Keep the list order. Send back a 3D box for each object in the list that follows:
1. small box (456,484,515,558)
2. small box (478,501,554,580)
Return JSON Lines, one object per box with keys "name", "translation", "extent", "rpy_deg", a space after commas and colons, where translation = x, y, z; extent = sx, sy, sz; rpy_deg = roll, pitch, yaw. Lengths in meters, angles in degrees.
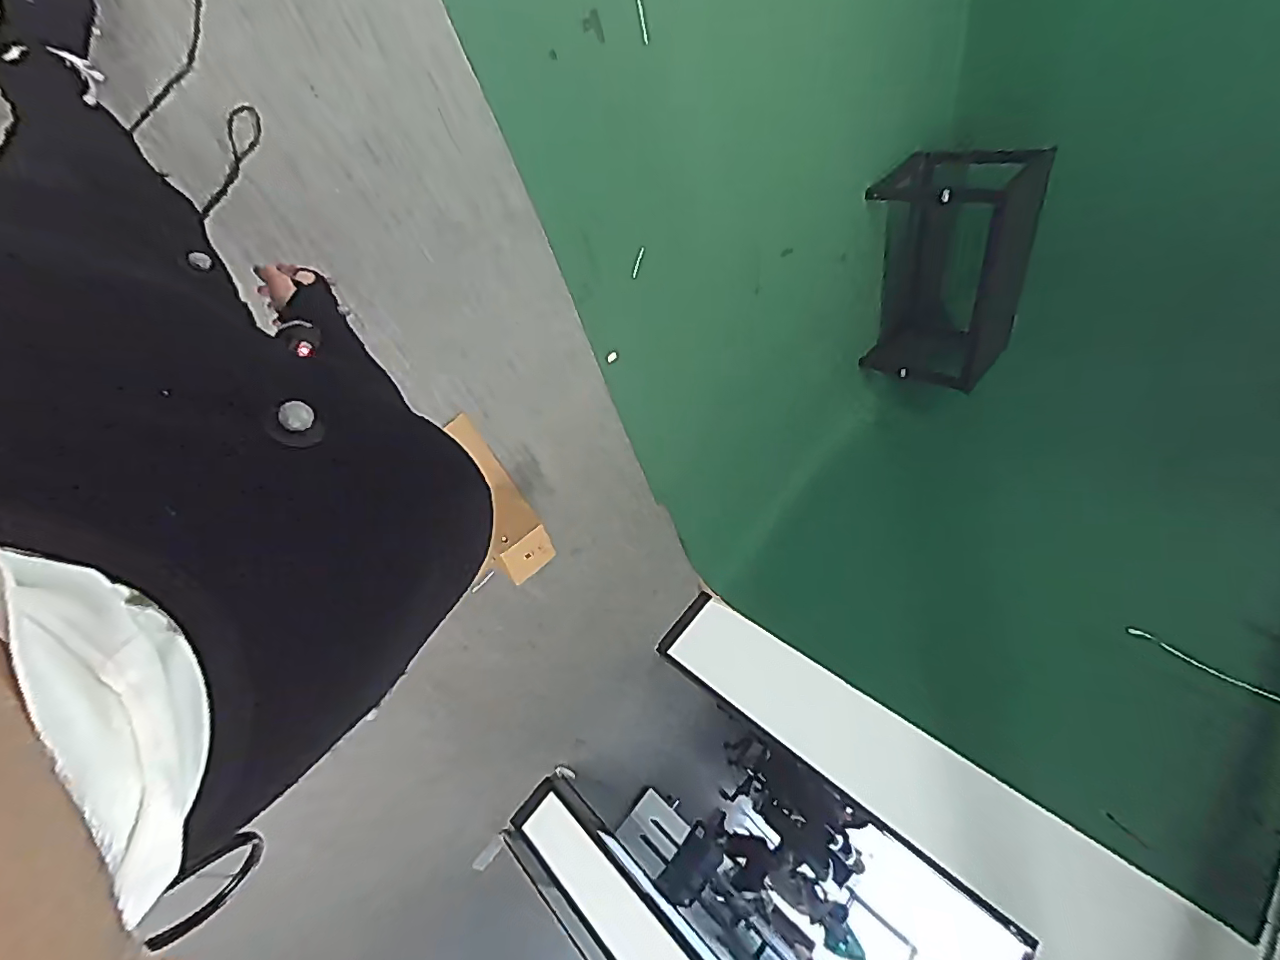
{"name": "small box", "translation": [-0.543, 0.144, 1.963], "extent": [0.179, 0.176, 0.168], "rpy_deg": [-38, 136, -26]}
{"name": "small box", "translation": [-0.432, 0.204, 1.855], "extent": [0.179, 0.176, 0.168], "rpy_deg": [-39, 137, -26]}
